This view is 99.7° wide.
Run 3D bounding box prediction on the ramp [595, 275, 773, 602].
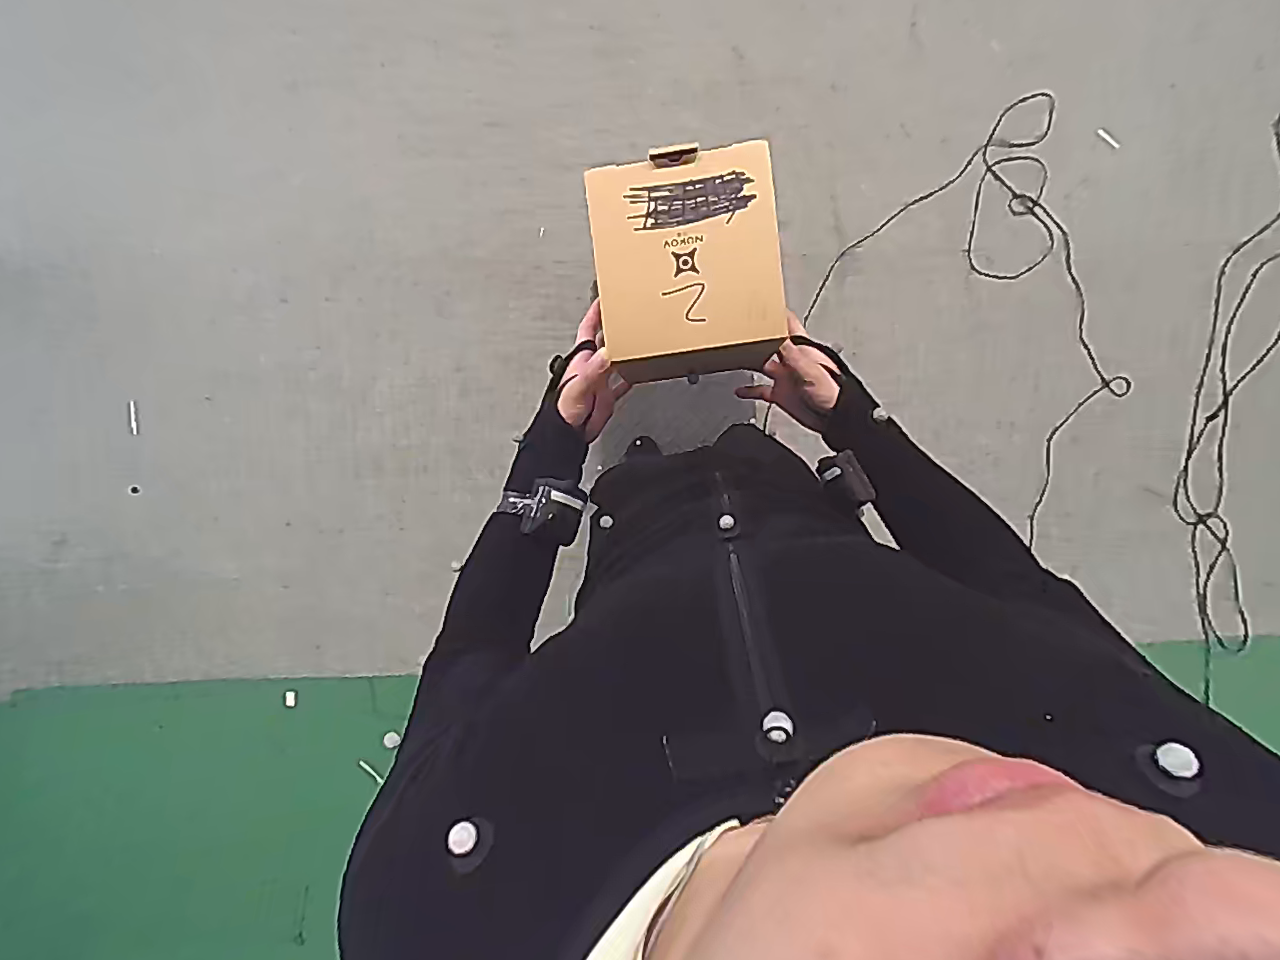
[{"bbox_3d":[0.125,-0.142,1.664,0.509,0.206,0.991,-5,94,0],"label":"ramp"}]
